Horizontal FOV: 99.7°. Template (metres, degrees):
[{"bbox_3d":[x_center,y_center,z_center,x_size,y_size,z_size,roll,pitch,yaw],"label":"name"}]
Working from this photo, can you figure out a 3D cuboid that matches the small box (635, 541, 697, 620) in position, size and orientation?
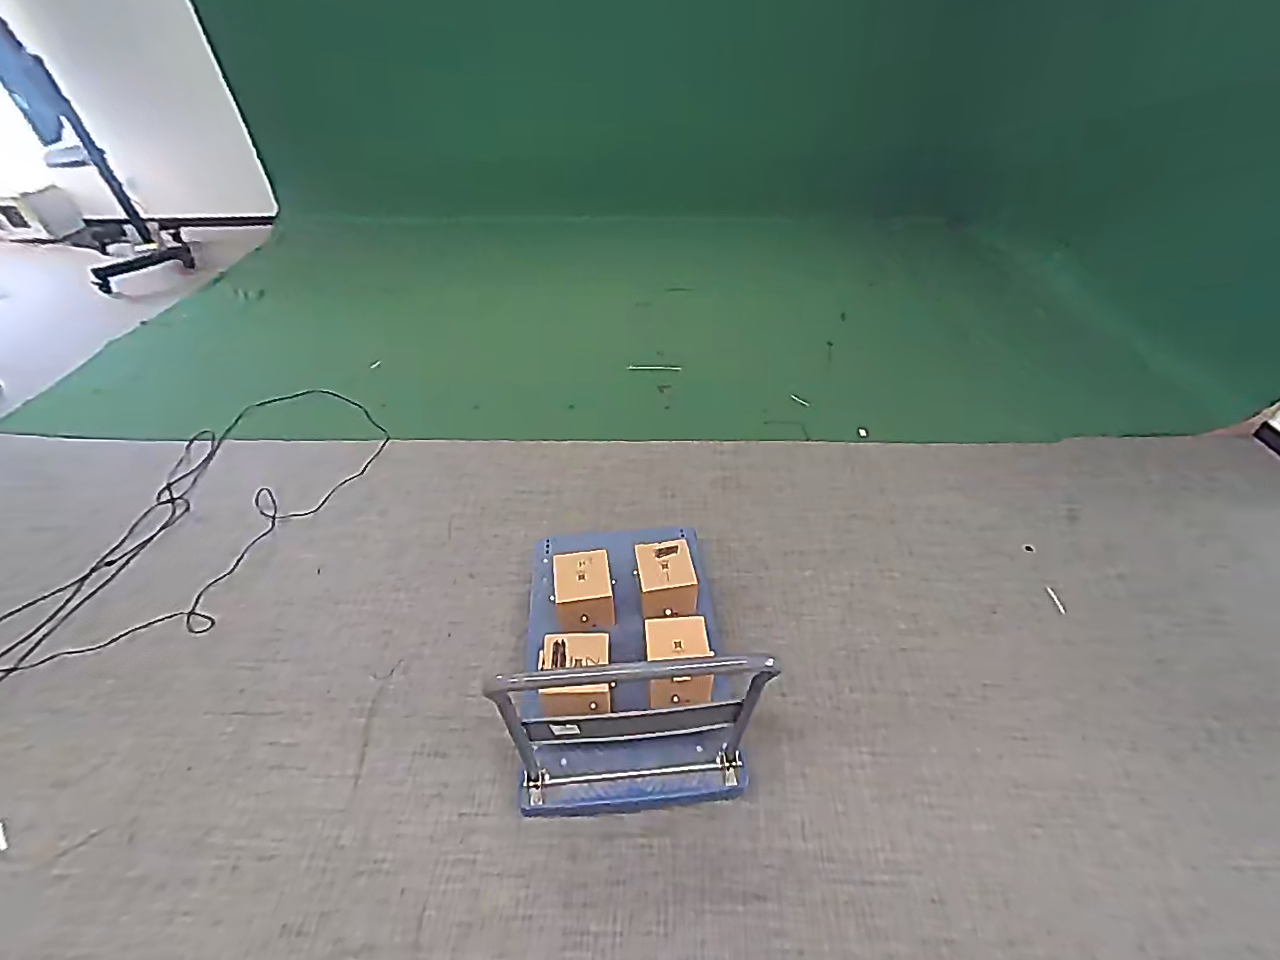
[{"bbox_3d":[0.077,0.318,1.700,0.168,0.176,0.179,-7,45,-5],"label":"small box"}]

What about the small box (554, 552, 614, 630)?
[{"bbox_3d":[-0.172,0.349,1.673,0.168,0.176,0.179,-6,44,-6],"label":"small box"}]

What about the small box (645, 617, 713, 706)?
[{"bbox_3d":[0.101,0.505,1.506,0.168,0.176,0.179,-3,44,-3],"label":"small box"}]
